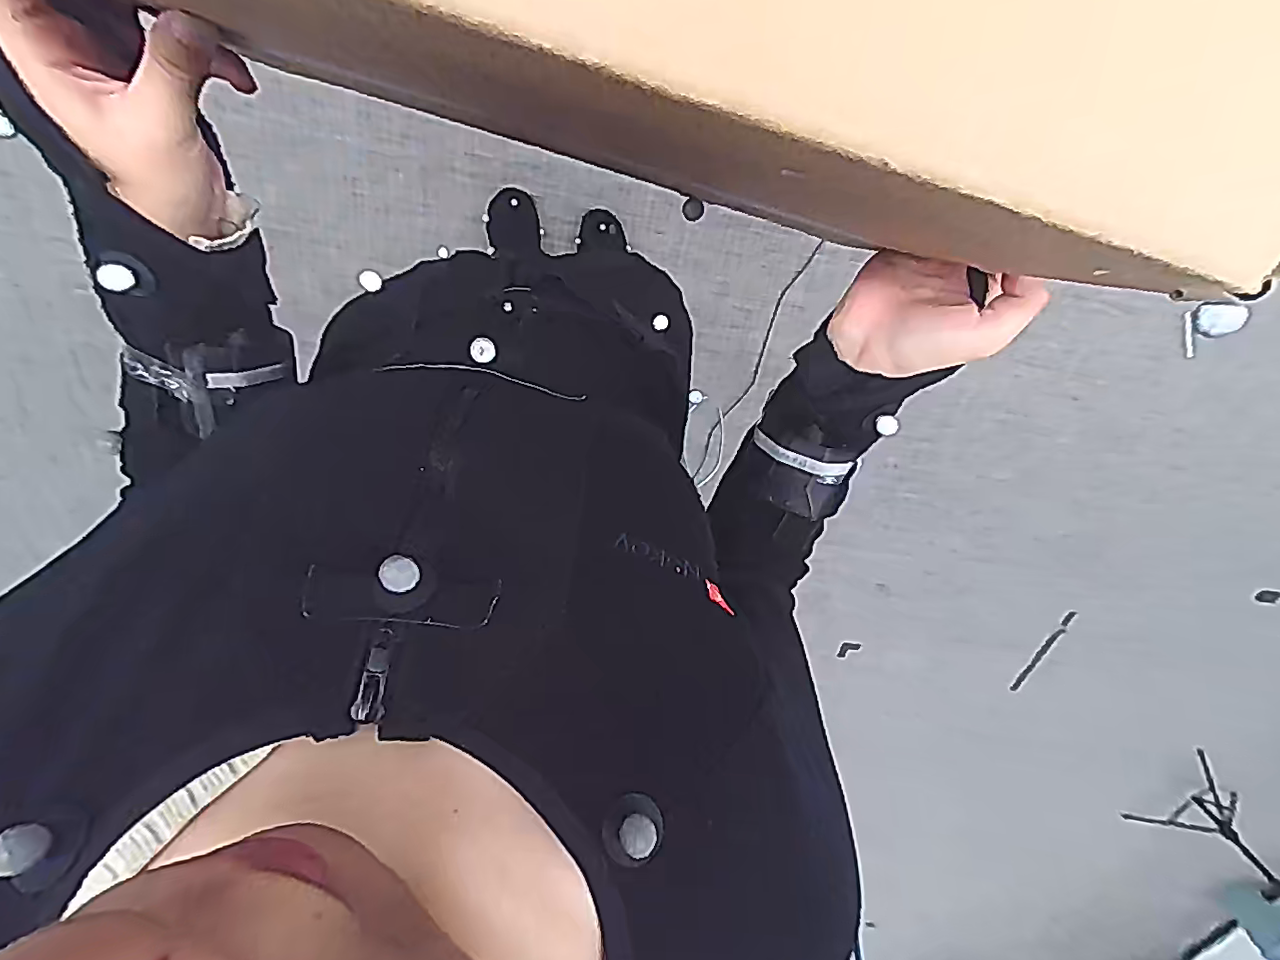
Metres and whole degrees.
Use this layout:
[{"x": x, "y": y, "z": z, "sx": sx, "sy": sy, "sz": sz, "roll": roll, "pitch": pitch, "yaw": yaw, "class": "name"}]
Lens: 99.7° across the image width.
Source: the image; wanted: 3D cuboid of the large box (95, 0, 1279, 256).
[{"x": 0.000, "y": -0.297, "z": 0.182, "sx": 0.408, "sy": 0.320, "sz": 0.320, "roll": 10, "pitch": 117, "yaw": -10, "class": "large box"}]
